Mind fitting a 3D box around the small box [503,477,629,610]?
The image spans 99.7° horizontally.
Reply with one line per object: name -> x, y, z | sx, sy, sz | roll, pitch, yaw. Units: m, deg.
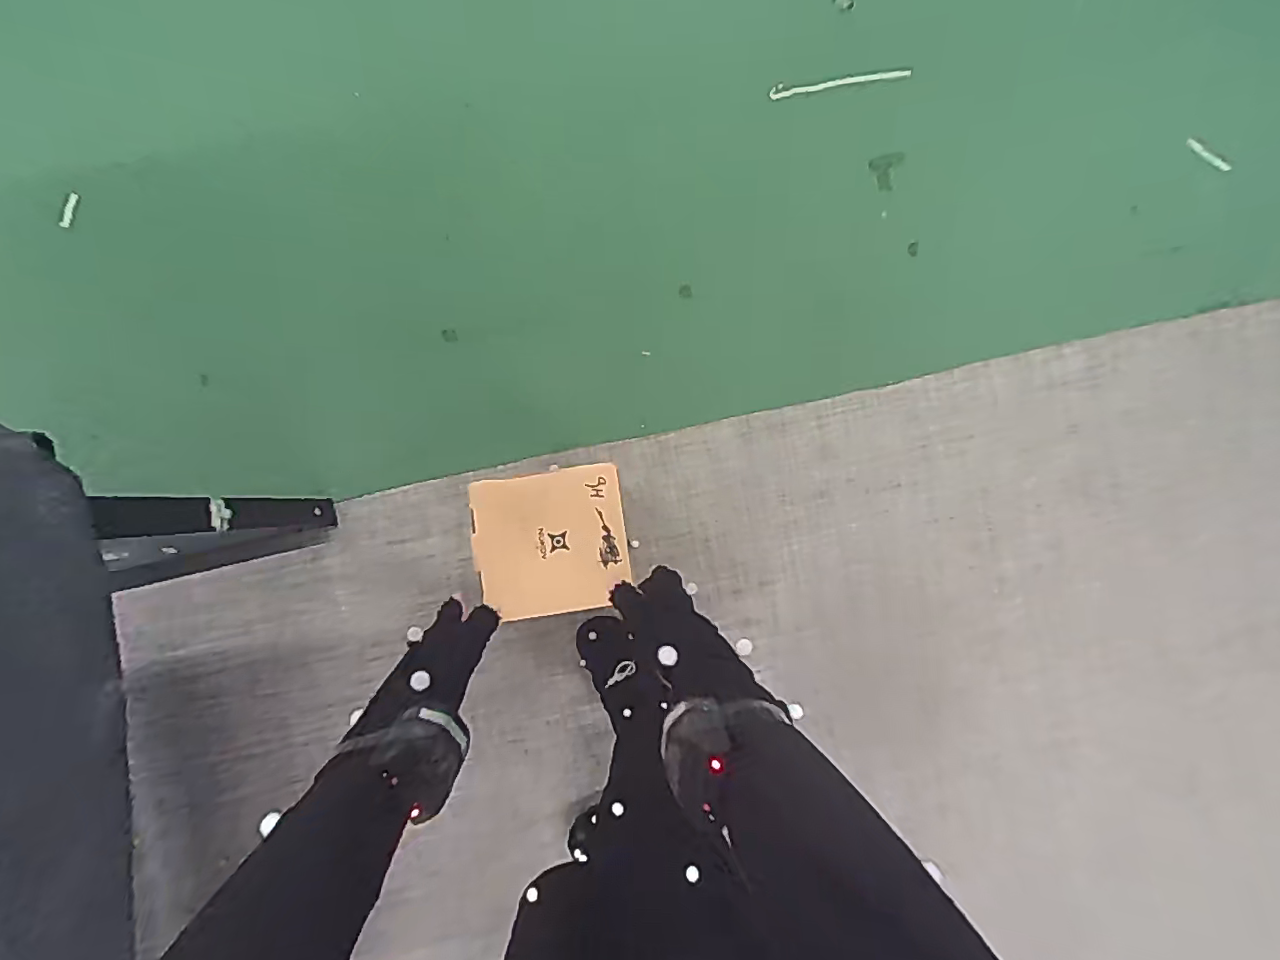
small box -> -0.111, 0.097, 0.863 | 0.168, 0.176, 0.179 | -8, 88, -1
